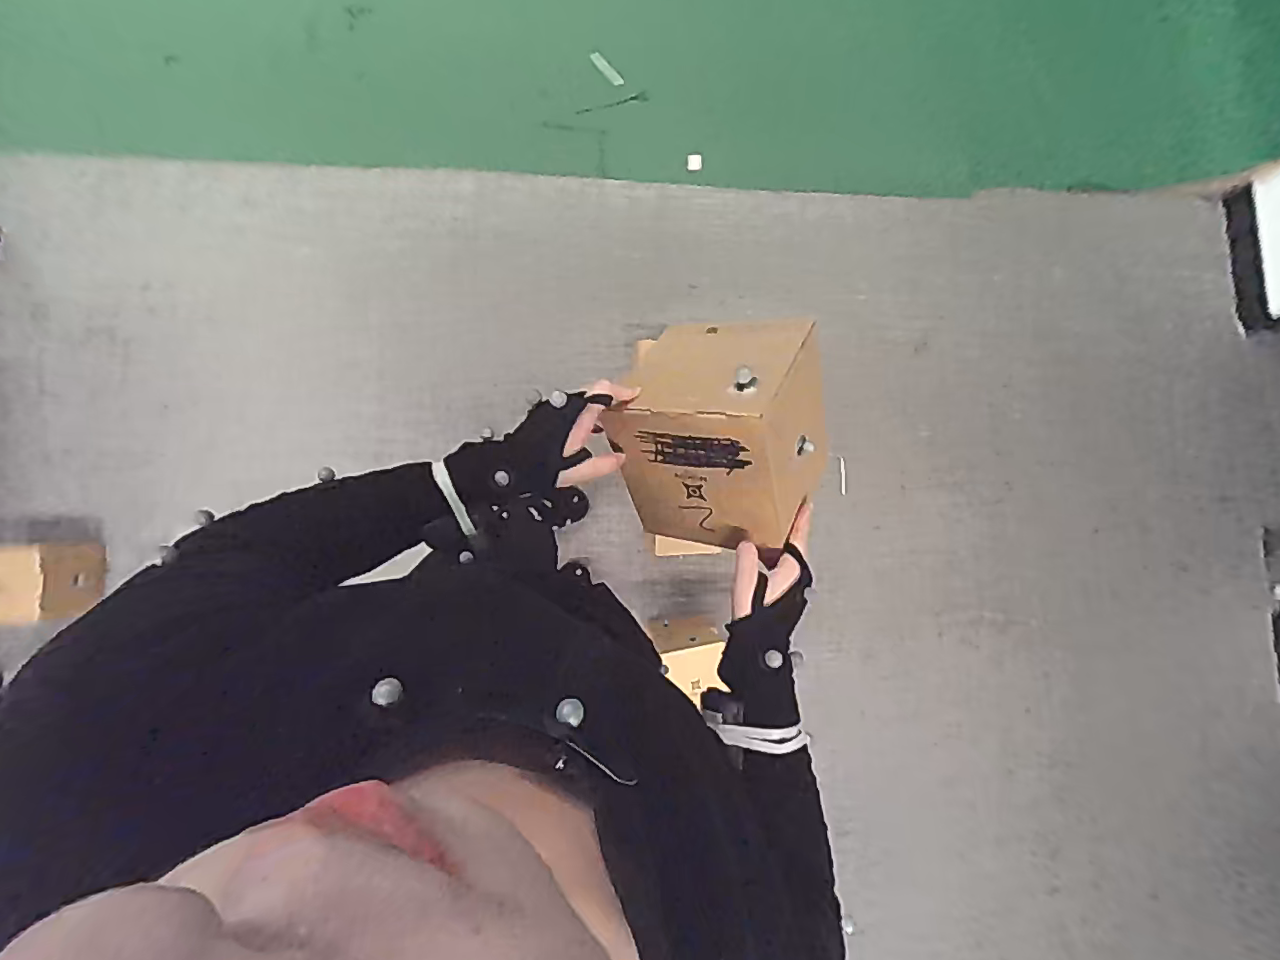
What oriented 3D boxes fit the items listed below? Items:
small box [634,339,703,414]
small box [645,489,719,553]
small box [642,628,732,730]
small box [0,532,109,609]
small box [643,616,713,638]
[{"bbox_3d":[0.075,-0.277,1.482,0.168,0.176,0.179,-2,87,-7],"label":"small box"},{"bbox_3d":[0.107,0.110,1.461,0.179,0.176,0.168,-1,87,-7],"label":"small box"},{"bbox_3d":[0.103,0.457,1.276,0.168,0.176,0.179,-9,88,-6],"label":"small box"},{"bbox_3d":[-1.425,0.210,1.285,0.179,0.176,0.168,-1,86,-7],"label":"small box"},{"bbox_3d":[0.101,0.464,1.440,0.168,0.176,0.179,-3,87,-5],"label":"small box"}]
